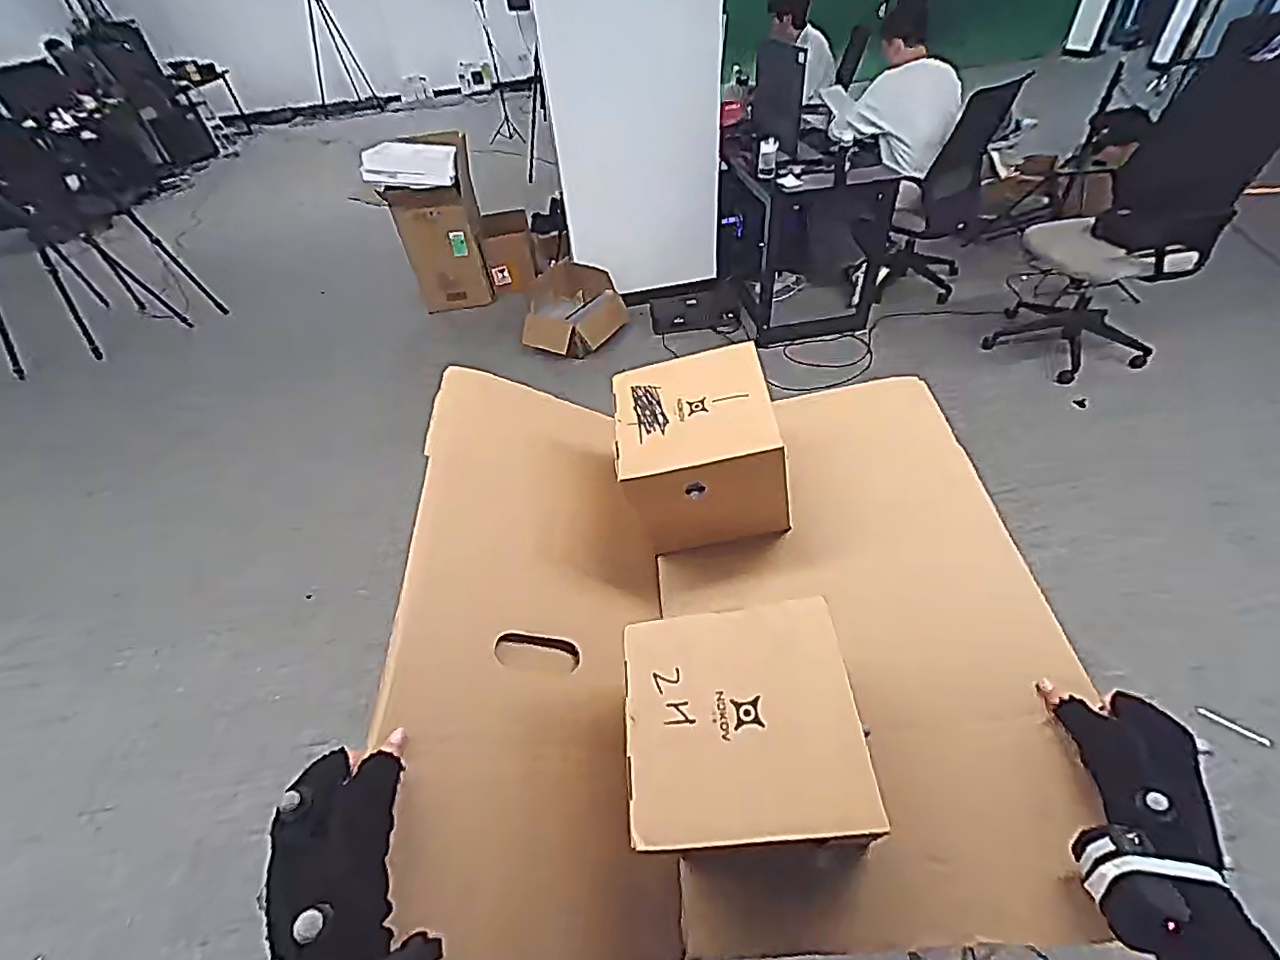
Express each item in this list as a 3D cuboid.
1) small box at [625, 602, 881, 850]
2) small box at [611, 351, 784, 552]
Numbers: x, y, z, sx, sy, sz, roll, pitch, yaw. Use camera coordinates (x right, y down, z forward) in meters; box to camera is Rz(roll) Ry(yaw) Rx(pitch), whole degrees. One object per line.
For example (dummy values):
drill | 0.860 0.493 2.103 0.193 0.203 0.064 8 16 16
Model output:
small box | 0.093 0.226 0.483 0.179 0.176 0.168 -11 52 11
small box | 0.072 -0.026 0.674 0.179 0.176 0.168 -12 53 9
